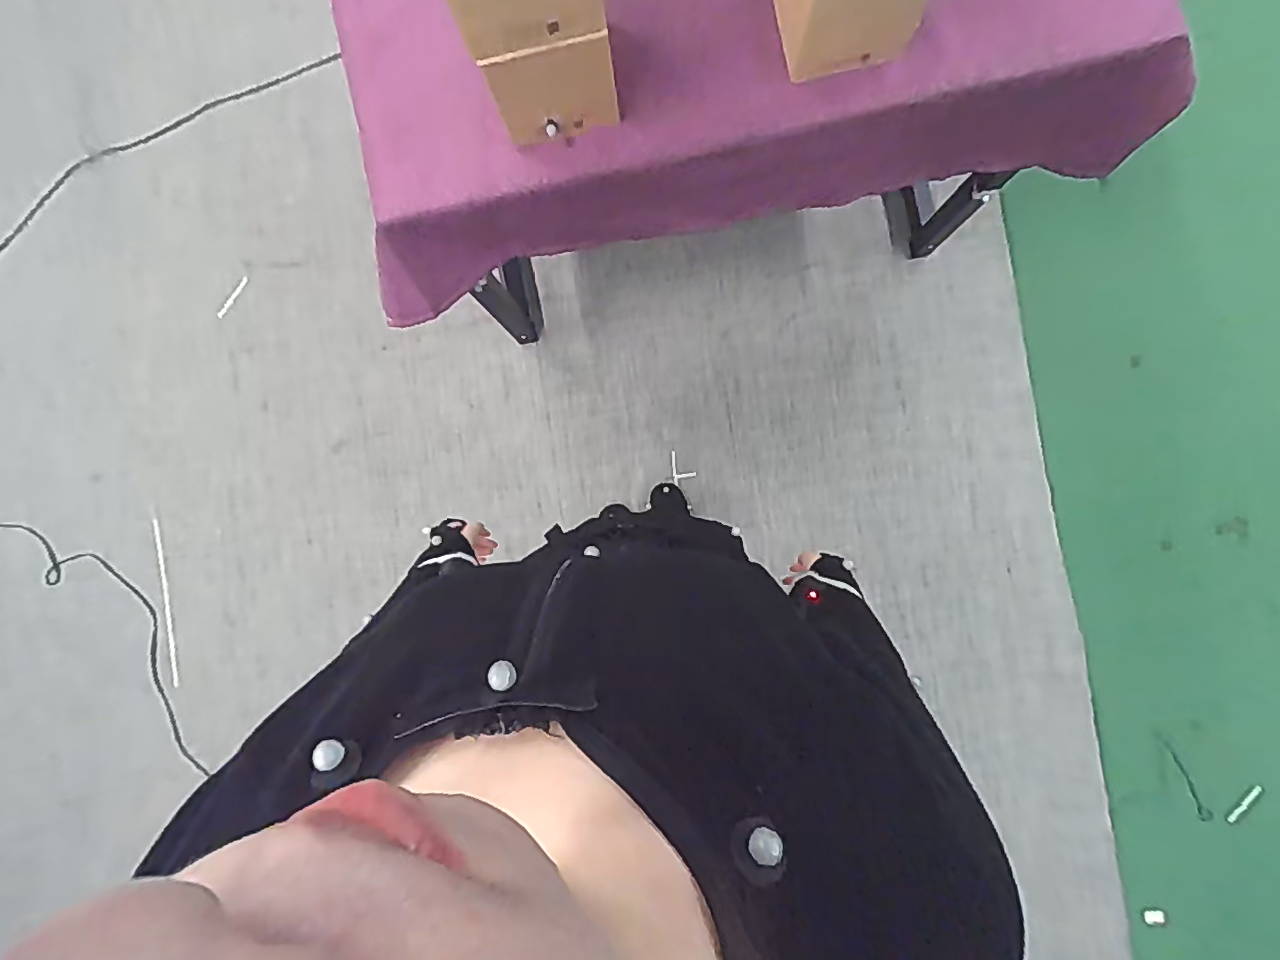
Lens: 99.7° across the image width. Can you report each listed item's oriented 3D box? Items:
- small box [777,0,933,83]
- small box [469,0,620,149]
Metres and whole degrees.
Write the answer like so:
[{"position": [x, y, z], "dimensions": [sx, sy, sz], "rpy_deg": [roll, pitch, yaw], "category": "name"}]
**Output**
[{"position": [0.285, -0.684, 0.717], "dimensions": [0.168, 0.176, 0.179], "rpy_deg": [-11, 87, 4], "category": "small box"}, {"position": [-0.126, -0.599, 0.737], "dimensions": [0.168, 0.176, 0.179], "rpy_deg": [-10, 88, 3], "category": "small box"}]
